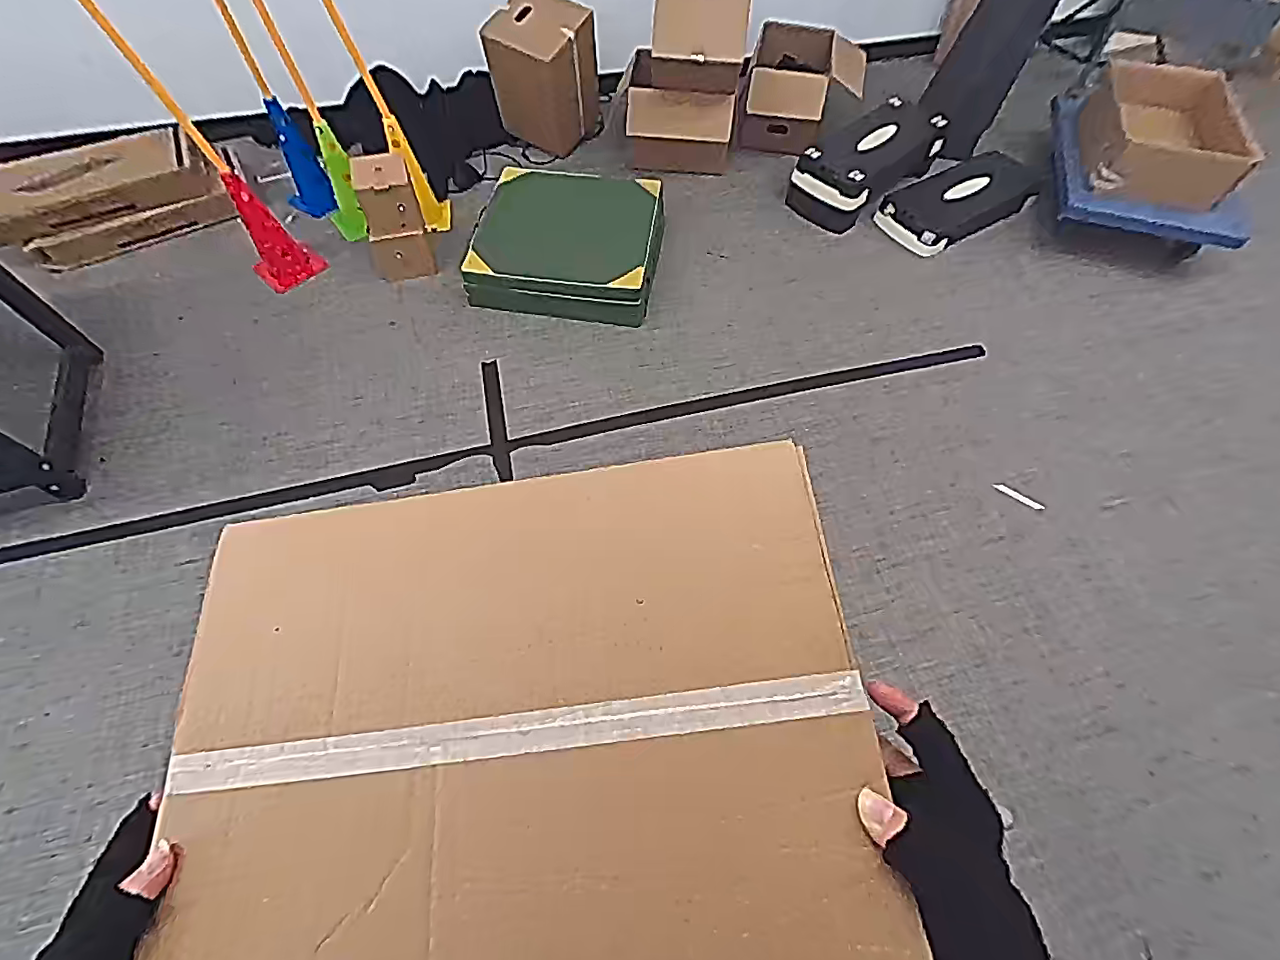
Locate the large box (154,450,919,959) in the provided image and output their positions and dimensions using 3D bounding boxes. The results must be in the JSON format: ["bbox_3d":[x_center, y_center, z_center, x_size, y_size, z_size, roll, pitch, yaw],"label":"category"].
[{"bbox_3d":[-0.057,0.204,0.454,0.408,0.320,0.320,-8,65,4],"label":"large box"}]
